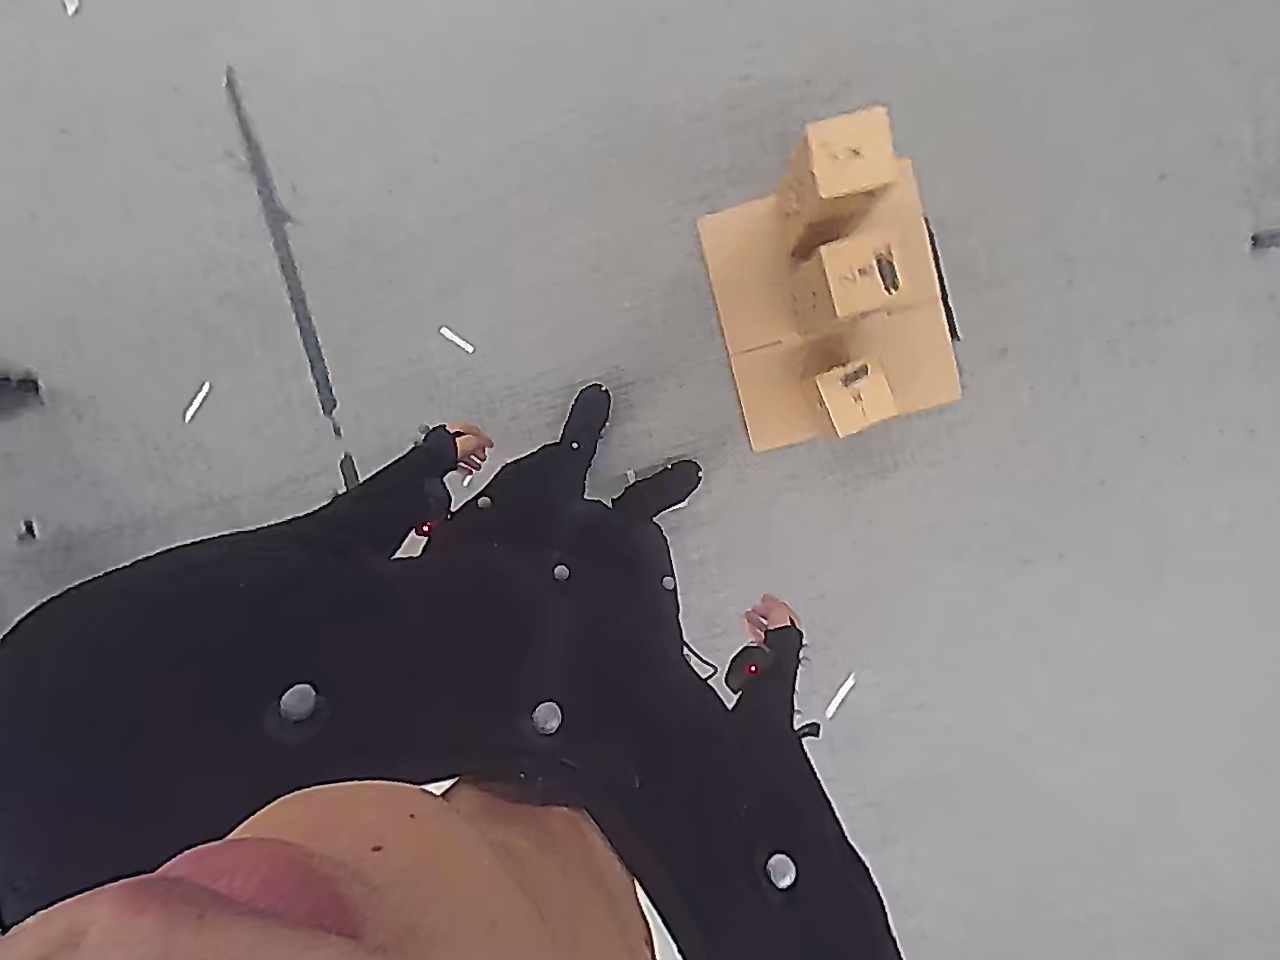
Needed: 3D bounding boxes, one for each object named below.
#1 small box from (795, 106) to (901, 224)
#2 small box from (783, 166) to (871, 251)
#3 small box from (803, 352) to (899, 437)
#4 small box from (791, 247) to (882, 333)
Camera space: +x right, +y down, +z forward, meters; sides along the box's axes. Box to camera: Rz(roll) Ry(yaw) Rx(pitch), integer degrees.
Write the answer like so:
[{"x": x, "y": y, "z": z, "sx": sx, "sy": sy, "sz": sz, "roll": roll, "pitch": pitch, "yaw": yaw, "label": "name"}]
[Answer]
[{"x": 0.476, "y": -0.723, "z": 1.258, "sx": 0.179, "sy": 0.176, "sz": 0.168, "roll": -11, "pitch": 94, "yaw": 5, "label": "small box"}, {"x": 0.482, "y": -0.726, "z": 1.424, "sx": 0.179, "sy": 0.176, "sz": 0.168, "roll": -12, "pitch": 94, "yaw": 6, "label": "small box"}, {"x": 0.561, "y": -0.224, "z": 1.465, "sx": 0.168, "sy": 0.176, "sz": 0.179, "roll": -23, "pitch": 93, "yaw": 6, "label": "small box"}, {"x": 0.519, "y": -0.499, "z": 1.443, "sx": 0.179, "sy": 0.176, "sz": 0.168, "roll": -10, "pitch": 95, "yaw": 5, "label": "small box"}]
